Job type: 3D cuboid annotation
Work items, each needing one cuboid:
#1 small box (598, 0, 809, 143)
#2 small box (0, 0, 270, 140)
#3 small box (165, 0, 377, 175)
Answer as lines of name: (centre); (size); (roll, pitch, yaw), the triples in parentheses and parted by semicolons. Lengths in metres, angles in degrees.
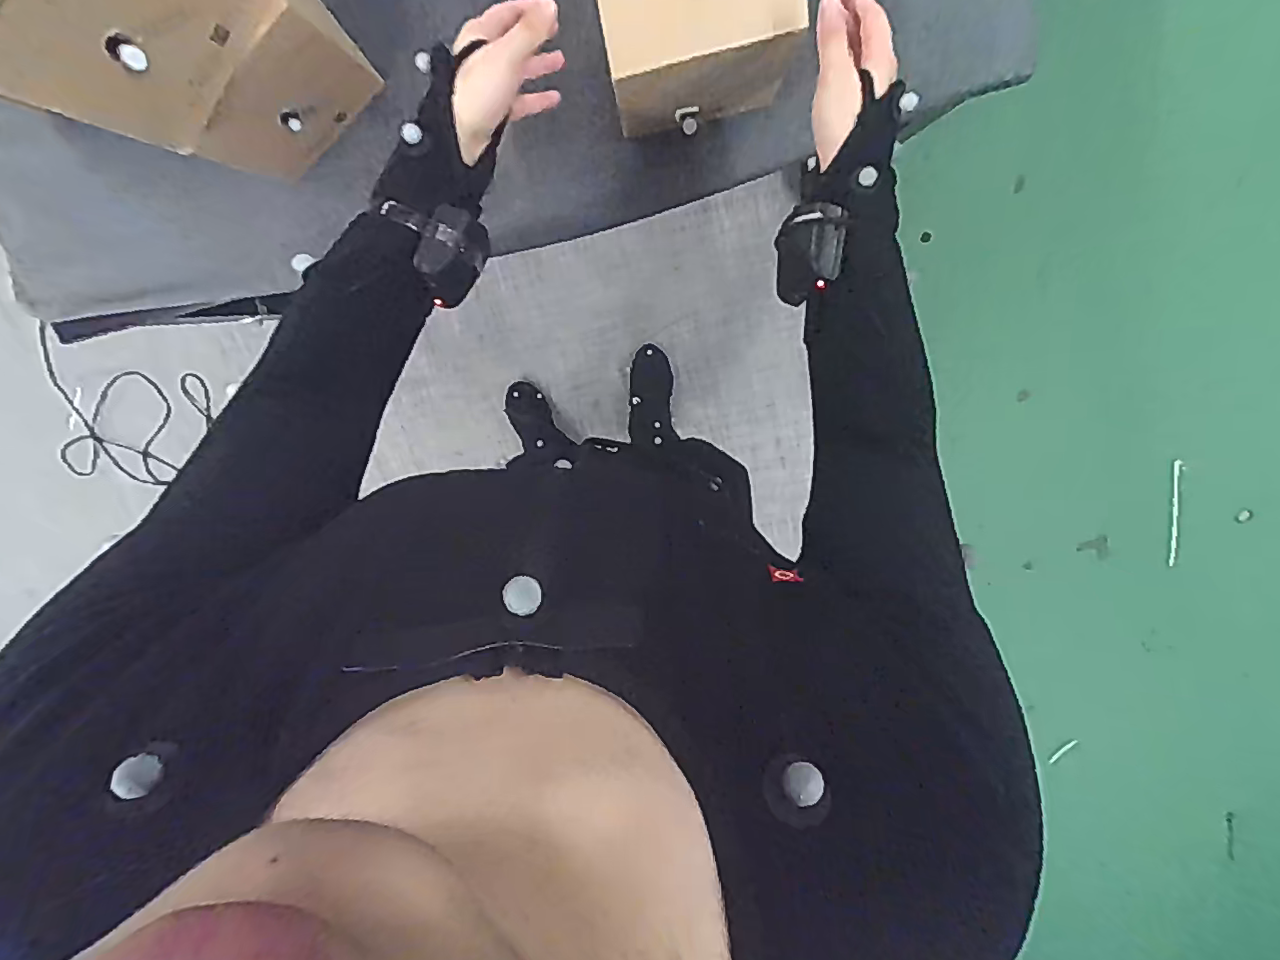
small box: (0.045, -0.447, 0.498); (0.168, 0.176, 0.179); (-11, 107, 7)
small box: (-0.410, -0.372, 0.370); (0.179, 0.176, 0.168); (40, 105, -9)
small box: (-0.400, -0.428, 0.522); (0.168, 0.176, 0.179); (-37, 102, 12)
